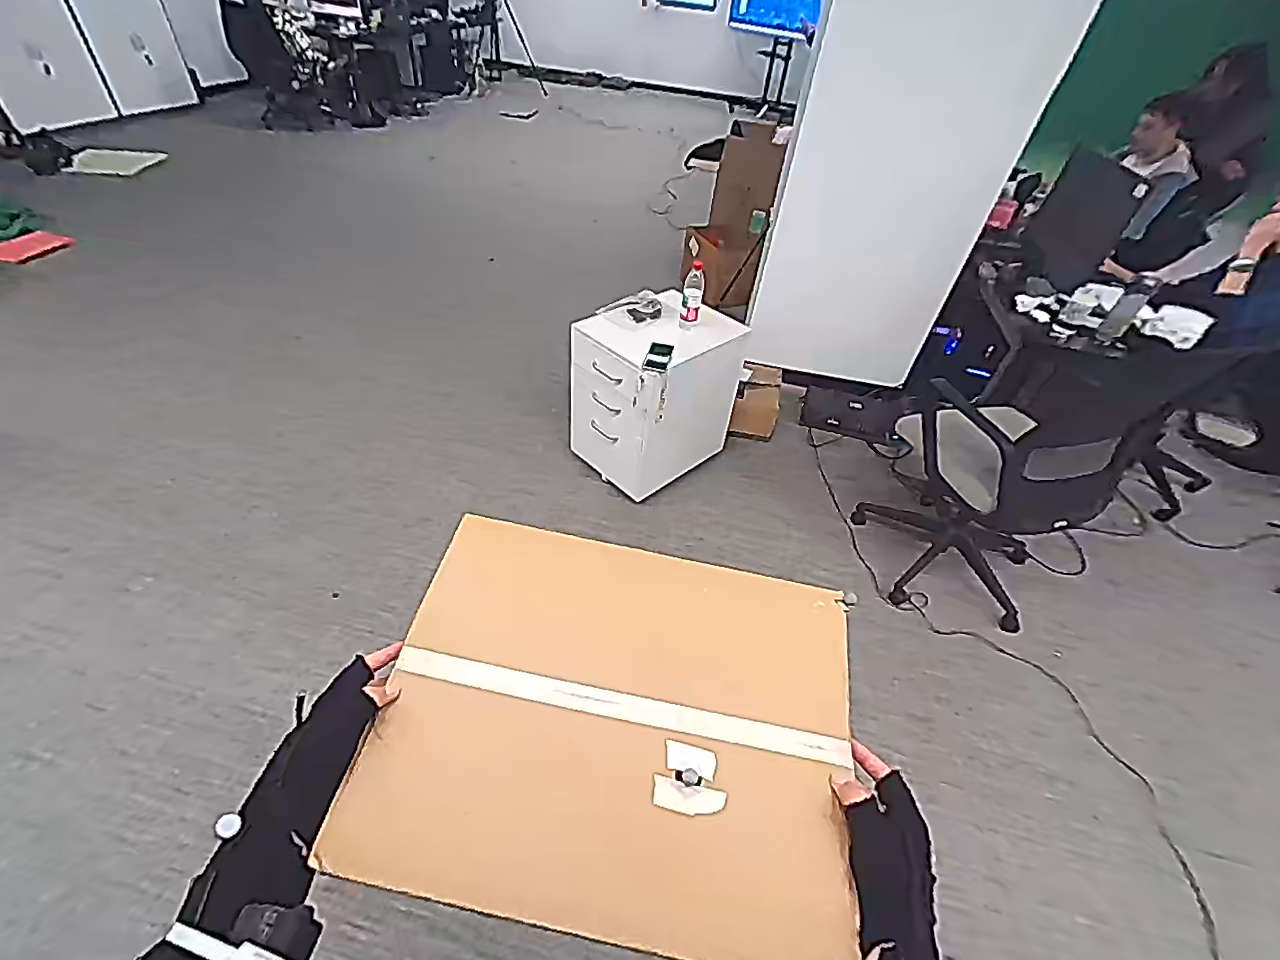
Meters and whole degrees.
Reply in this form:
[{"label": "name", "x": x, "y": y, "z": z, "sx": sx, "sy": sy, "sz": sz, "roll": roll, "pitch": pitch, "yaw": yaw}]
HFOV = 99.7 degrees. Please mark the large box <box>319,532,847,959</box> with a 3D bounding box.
[{"label": "large box", "x": -0.035, "y": 0.297, "z": 0.600, "sx": 0.408, "sy": 0.320, "sz": 0.320, "roll": 12, "pitch": 54, "yaw": 2}]
